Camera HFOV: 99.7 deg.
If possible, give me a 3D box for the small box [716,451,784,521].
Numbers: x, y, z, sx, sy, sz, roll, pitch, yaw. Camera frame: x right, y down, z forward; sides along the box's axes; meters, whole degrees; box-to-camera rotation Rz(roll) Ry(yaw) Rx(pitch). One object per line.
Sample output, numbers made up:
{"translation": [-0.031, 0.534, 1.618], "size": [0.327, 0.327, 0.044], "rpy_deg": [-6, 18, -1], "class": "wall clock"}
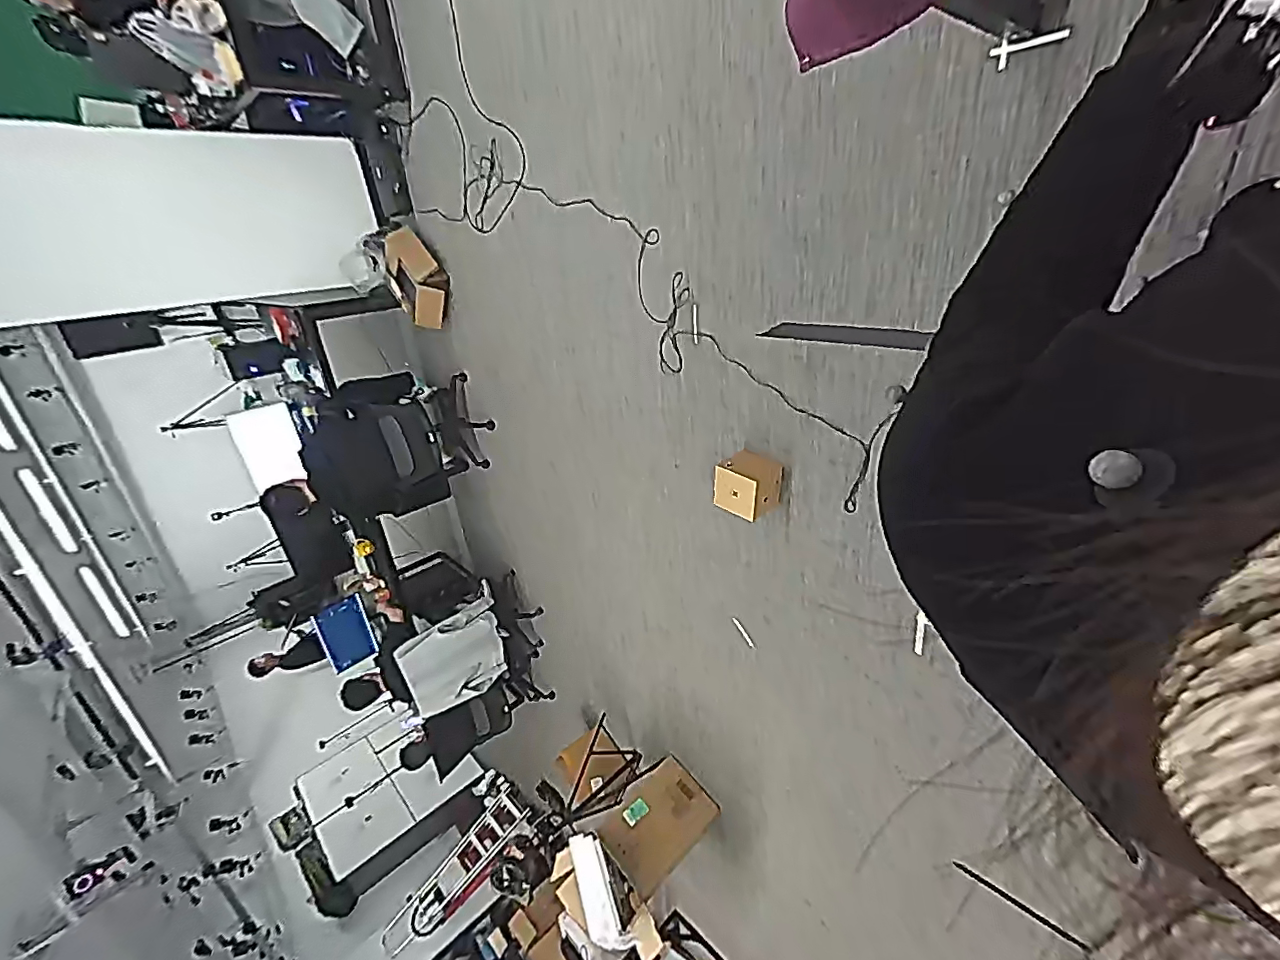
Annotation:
{"translation": [0.393, 0.015, 1.924], "size": [0.179, 0.176, 0.168], "rpy_deg": [26, 130, 40], "class": "small box"}
